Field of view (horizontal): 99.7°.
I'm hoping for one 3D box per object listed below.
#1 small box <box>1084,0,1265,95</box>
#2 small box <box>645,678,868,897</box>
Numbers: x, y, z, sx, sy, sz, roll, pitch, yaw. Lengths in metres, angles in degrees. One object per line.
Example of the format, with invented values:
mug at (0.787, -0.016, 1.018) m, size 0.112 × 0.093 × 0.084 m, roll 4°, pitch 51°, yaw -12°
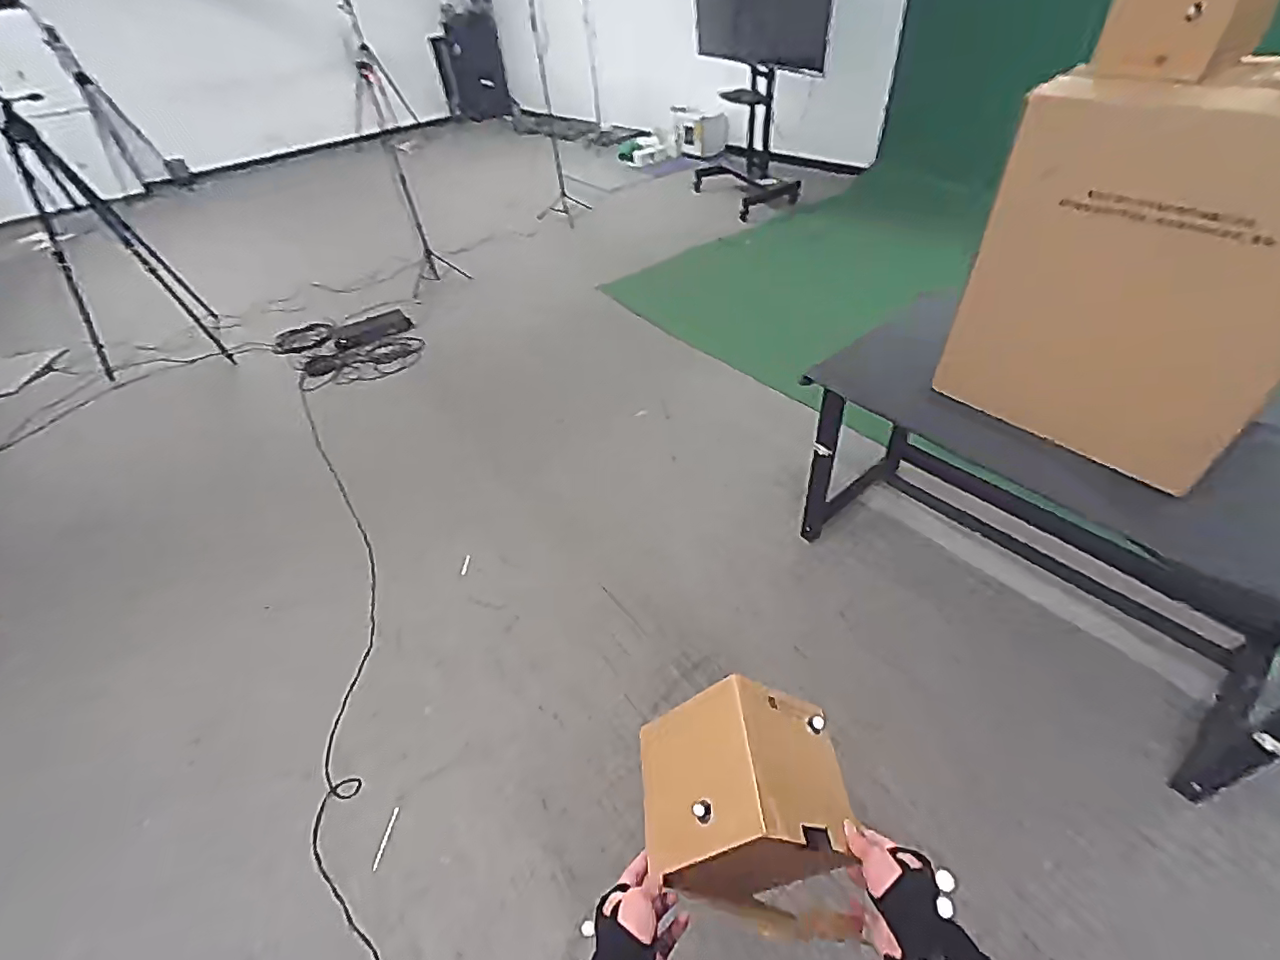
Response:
small box at (0.891, -0.761, 0.896) m, size 0.179 × 0.176 × 0.168 m, roll -29°, pitch 49°, yaw -19°
small box at (0.117, 0.354, 0.623) m, size 0.168 × 0.179 × 0.176 m, roll 30°, pitch 34°, yaw -27°
